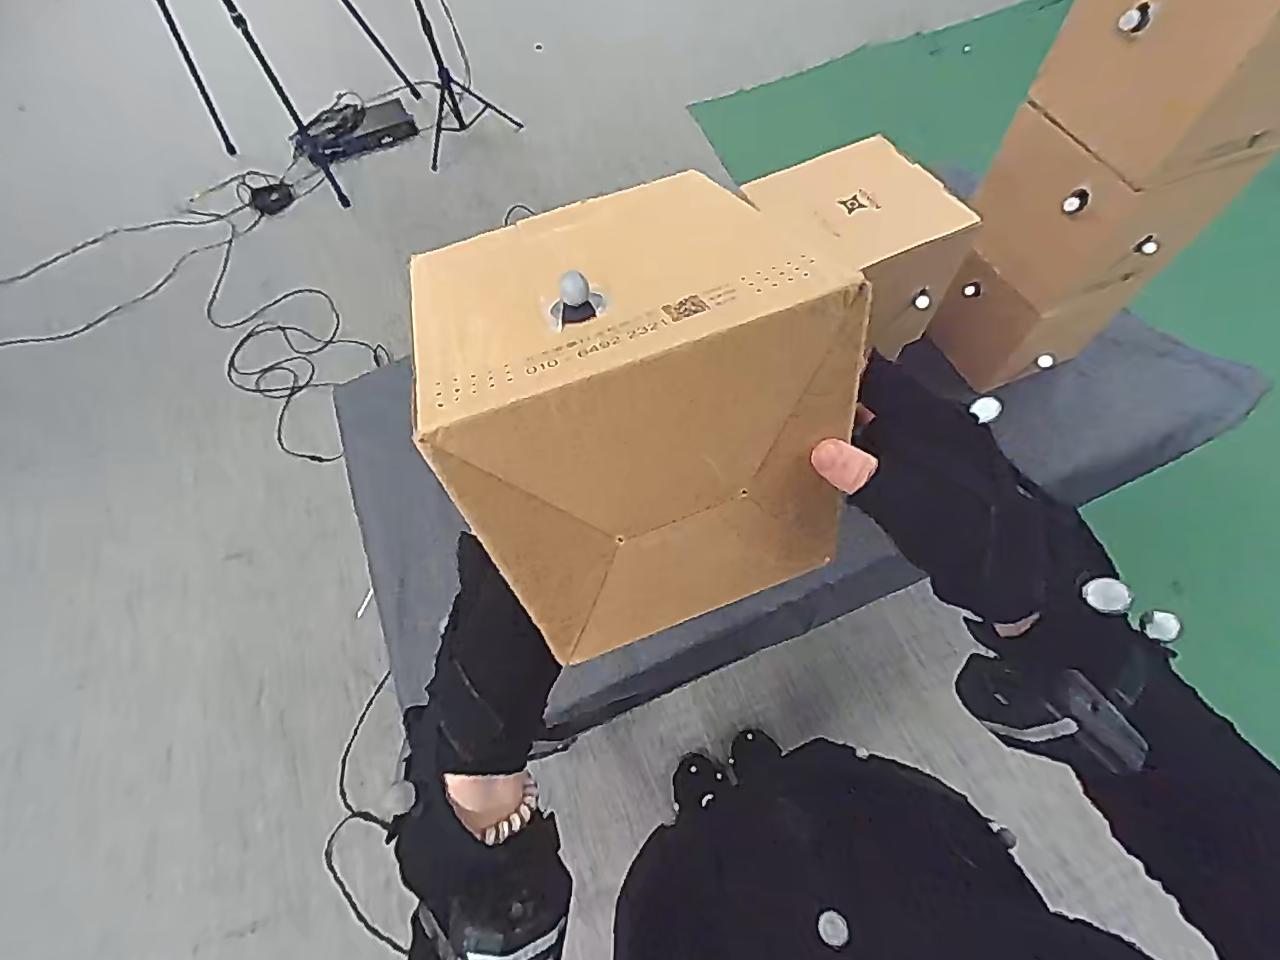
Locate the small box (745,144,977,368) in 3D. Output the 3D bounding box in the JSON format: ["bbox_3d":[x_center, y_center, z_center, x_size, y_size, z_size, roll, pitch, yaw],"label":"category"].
[{"bbox_3d":[0.225,-0.236,0.619,0.179,0.176,0.168,-24,62,-7],"label":"small box"}]

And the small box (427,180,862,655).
[{"bbox_3d":[-0.003,-0.032,0.300,0.168,0.179,0.176,-20,45,-6],"label":"small box"}]

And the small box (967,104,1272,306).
[{"bbox_3d":[0.531,-0.331,0.637,0.168,0.176,0.179,-19,63,-5],"label":"small box"}]
